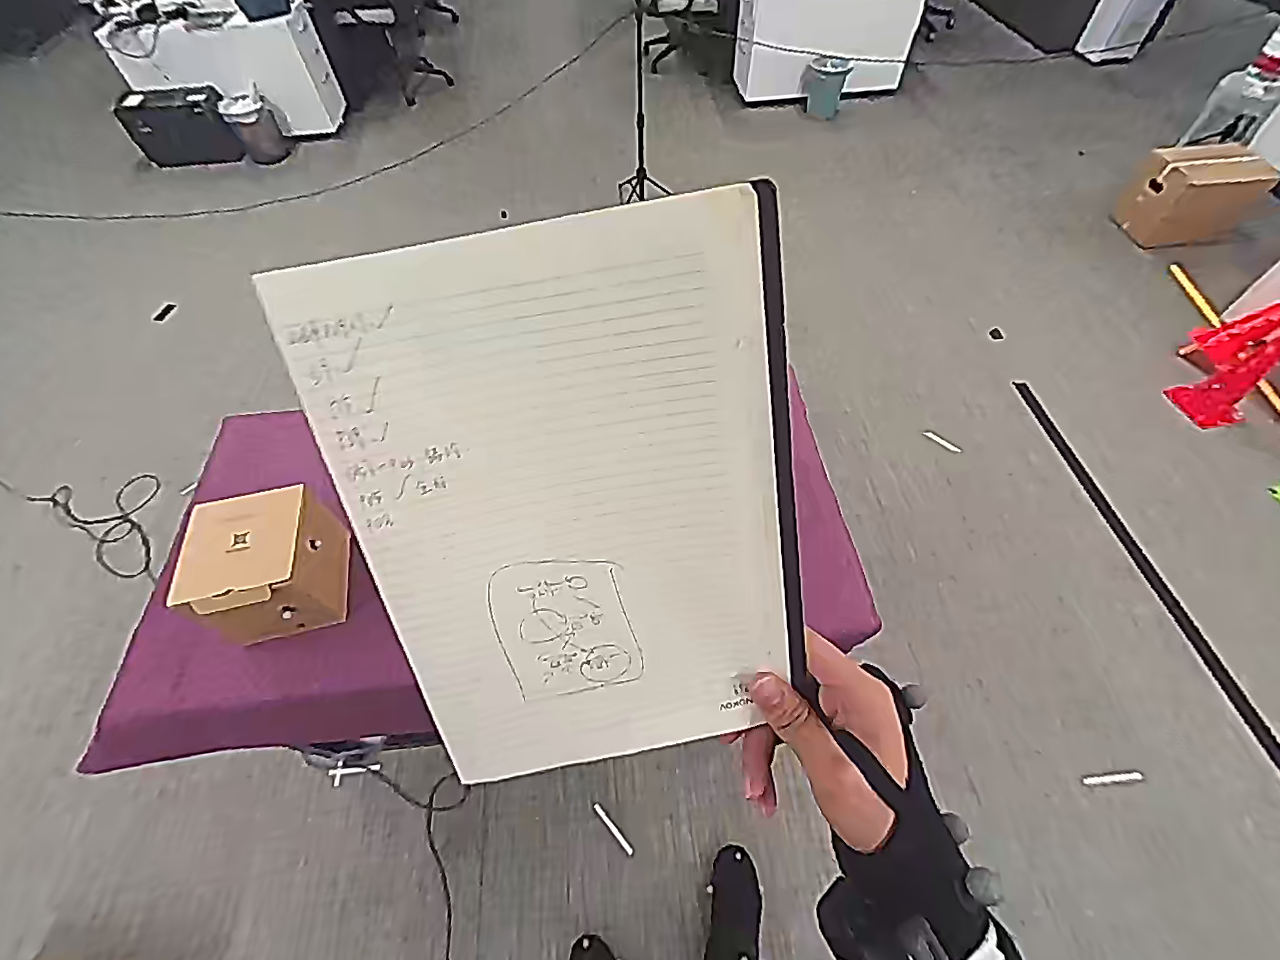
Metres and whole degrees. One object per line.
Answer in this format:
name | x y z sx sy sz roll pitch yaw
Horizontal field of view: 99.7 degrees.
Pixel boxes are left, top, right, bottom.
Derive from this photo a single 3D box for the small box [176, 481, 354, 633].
small box | -0.583 0.132 0.870 0.168 0.176 0.179 -12 56 -7
